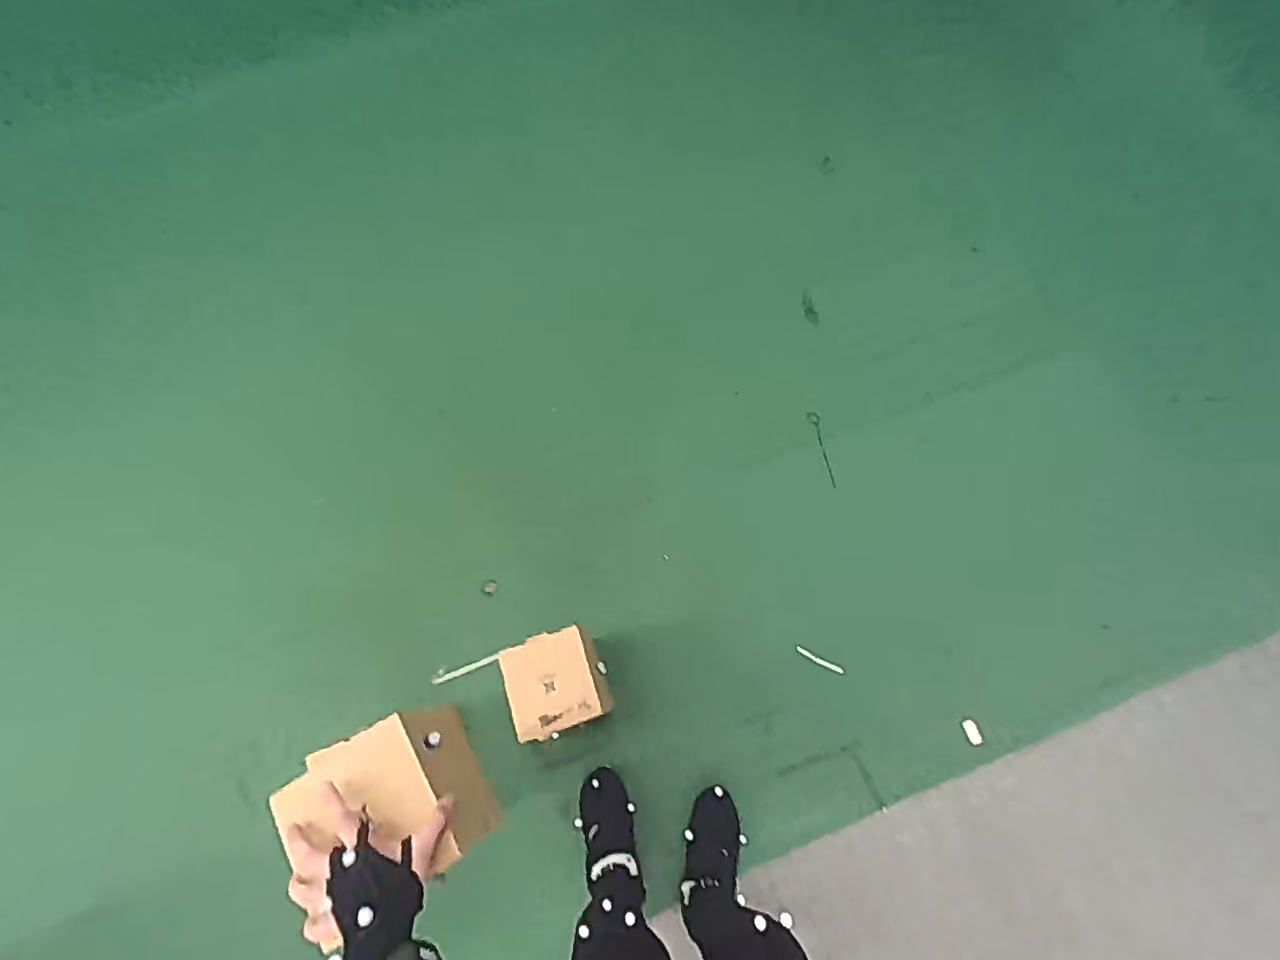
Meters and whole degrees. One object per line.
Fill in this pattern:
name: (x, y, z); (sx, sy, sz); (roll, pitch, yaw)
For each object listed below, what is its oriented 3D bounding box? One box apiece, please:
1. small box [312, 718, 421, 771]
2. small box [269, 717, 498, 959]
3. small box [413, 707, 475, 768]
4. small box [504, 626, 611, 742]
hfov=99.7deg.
small box: (-0.508, 0.590, 1.074); (0.168, 0.176, 0.179); (-23, 71, -5)
small box: (-0.304, 0.418, 0.672); (0.168, 0.176, 0.179); (-33, 71, -9)
small box: (-0.494, 0.635, 1.232); (0.168, 0.176, 0.179); (-21, 70, -4)
small box: (-0.165, 0.419, 1.115); (0.168, 0.176, 0.179); (-18, 70, -4)
